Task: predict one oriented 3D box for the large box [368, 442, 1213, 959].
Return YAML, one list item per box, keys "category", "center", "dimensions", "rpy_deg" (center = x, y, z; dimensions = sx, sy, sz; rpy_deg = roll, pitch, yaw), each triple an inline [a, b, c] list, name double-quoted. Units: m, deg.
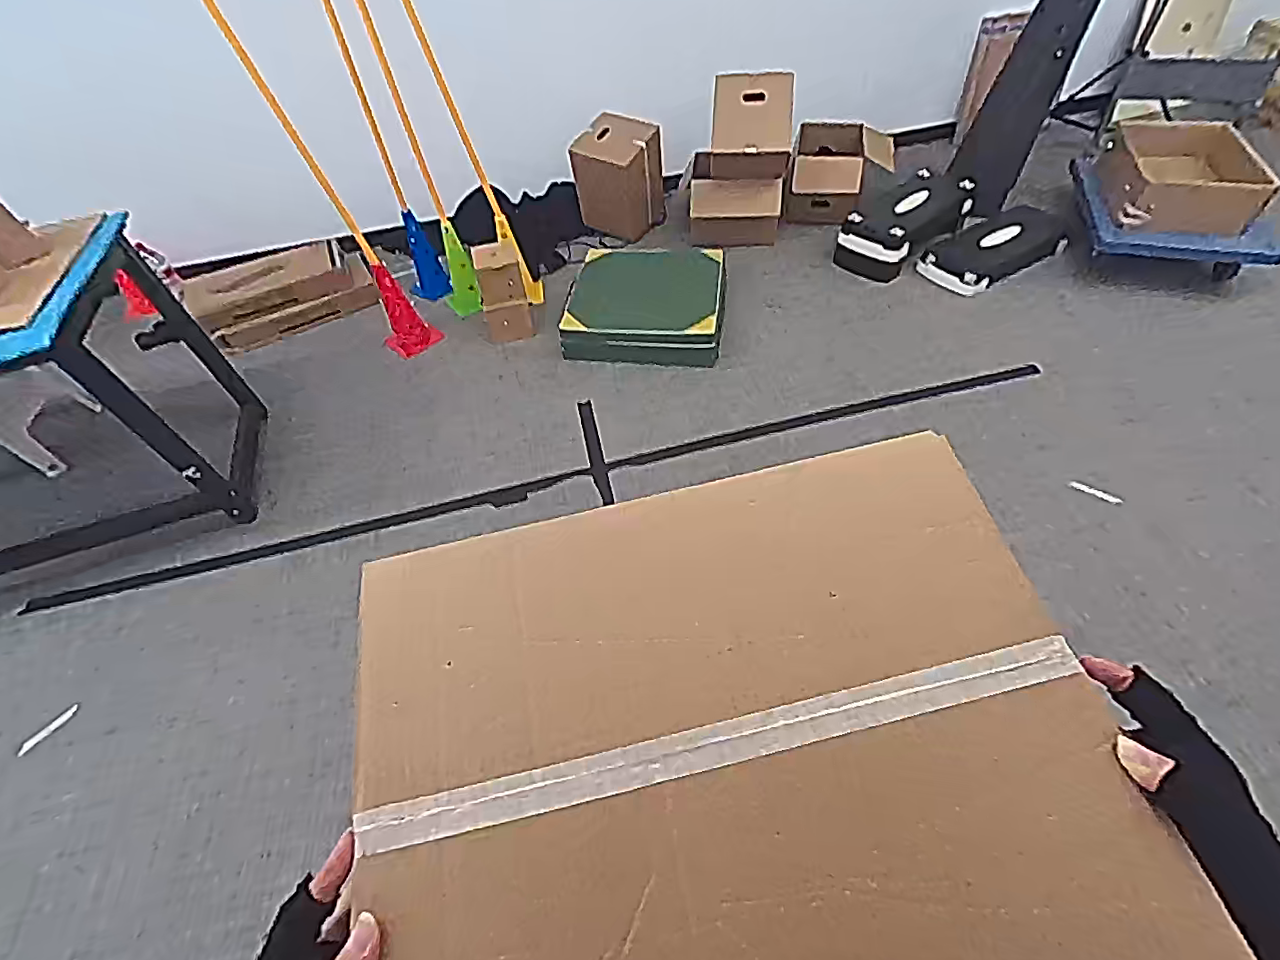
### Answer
- category: "large box"
  center: [0.056, 0.217, 0.441]
  dimensions: [0.408, 0.320, 0.320]
  rpy_deg: [-14, 61, -2]
